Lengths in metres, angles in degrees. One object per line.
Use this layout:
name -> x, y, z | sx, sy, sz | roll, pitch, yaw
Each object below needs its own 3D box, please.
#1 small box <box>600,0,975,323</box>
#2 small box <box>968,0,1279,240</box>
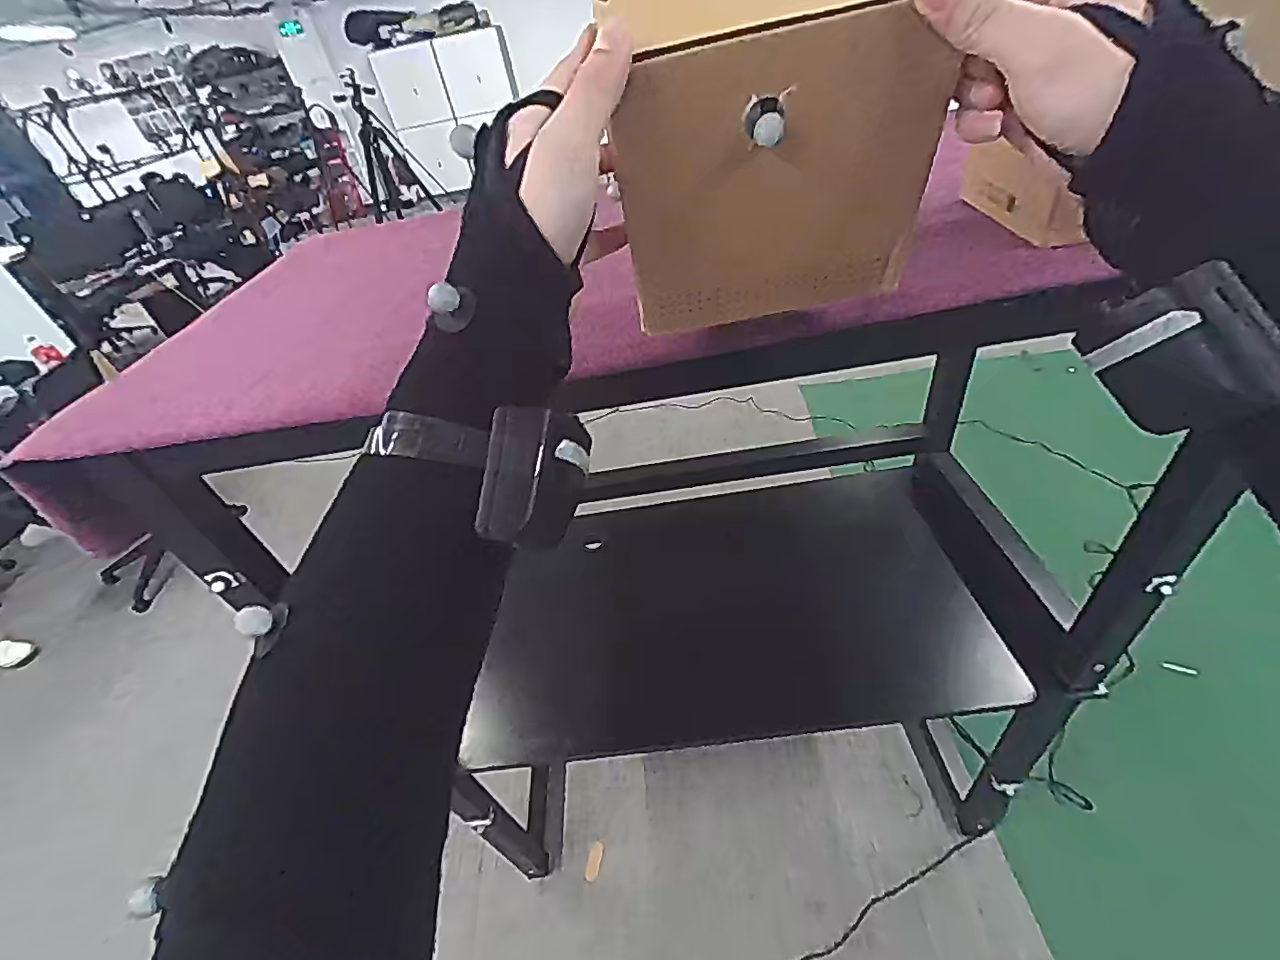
small box -> 0.076, -0.233, 0.363 | 0.179, 0.176, 0.168 | -10, 56, 6
small box -> 0.403, -0.317, 0.453 | 0.179, 0.176, 0.168 | -6, 41, 8
